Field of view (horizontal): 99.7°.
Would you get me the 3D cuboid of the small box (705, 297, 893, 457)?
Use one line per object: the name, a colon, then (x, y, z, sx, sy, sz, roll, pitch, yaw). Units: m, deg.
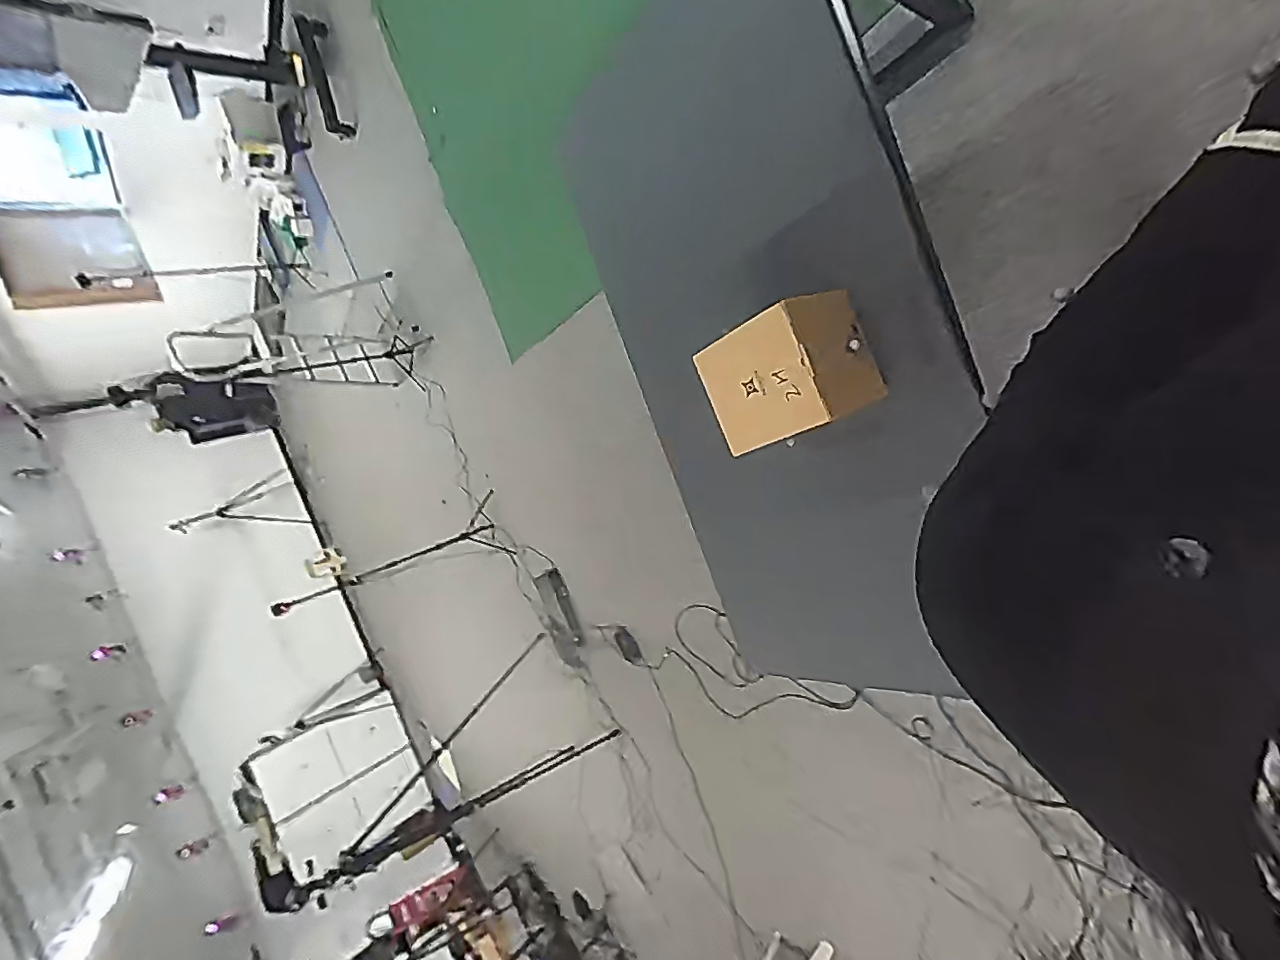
small box: (0.234, -0.151, 0.800, 0.179, 0.176, 0.168, -24, 90, 52)
